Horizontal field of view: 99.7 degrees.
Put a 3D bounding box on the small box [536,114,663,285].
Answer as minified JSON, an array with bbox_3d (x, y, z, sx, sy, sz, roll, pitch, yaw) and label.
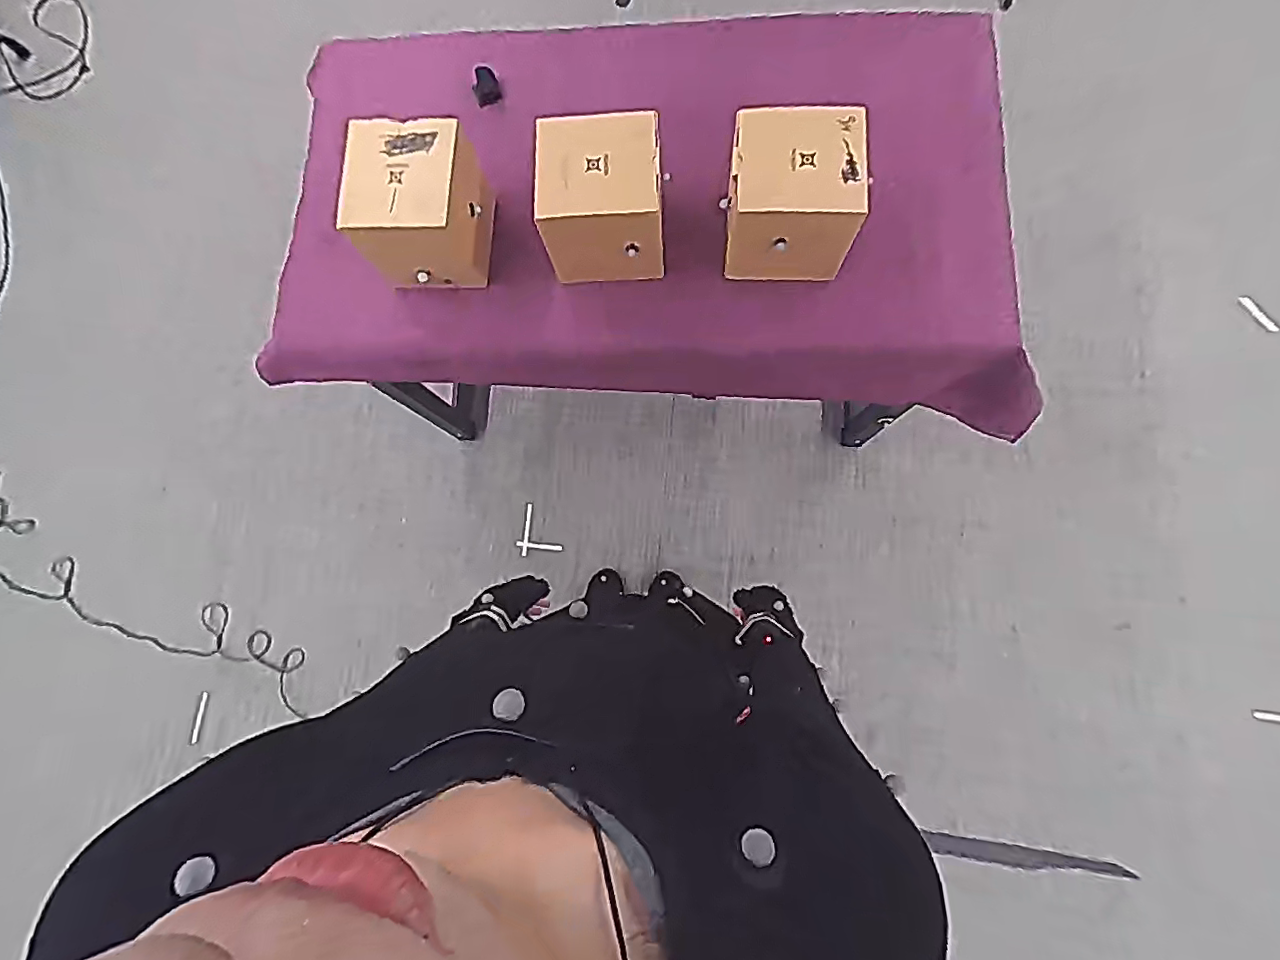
[{"bbox_3d":[-0.054,-0.423,0.838,0.179,0.176,0.168,-3,77,5],"label":"small box"}]

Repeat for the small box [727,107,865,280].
[{"bbox_3d":[0.224,-0.419,0.814,0.179,0.176,0.168,2,79,6],"label":"small box"}]
